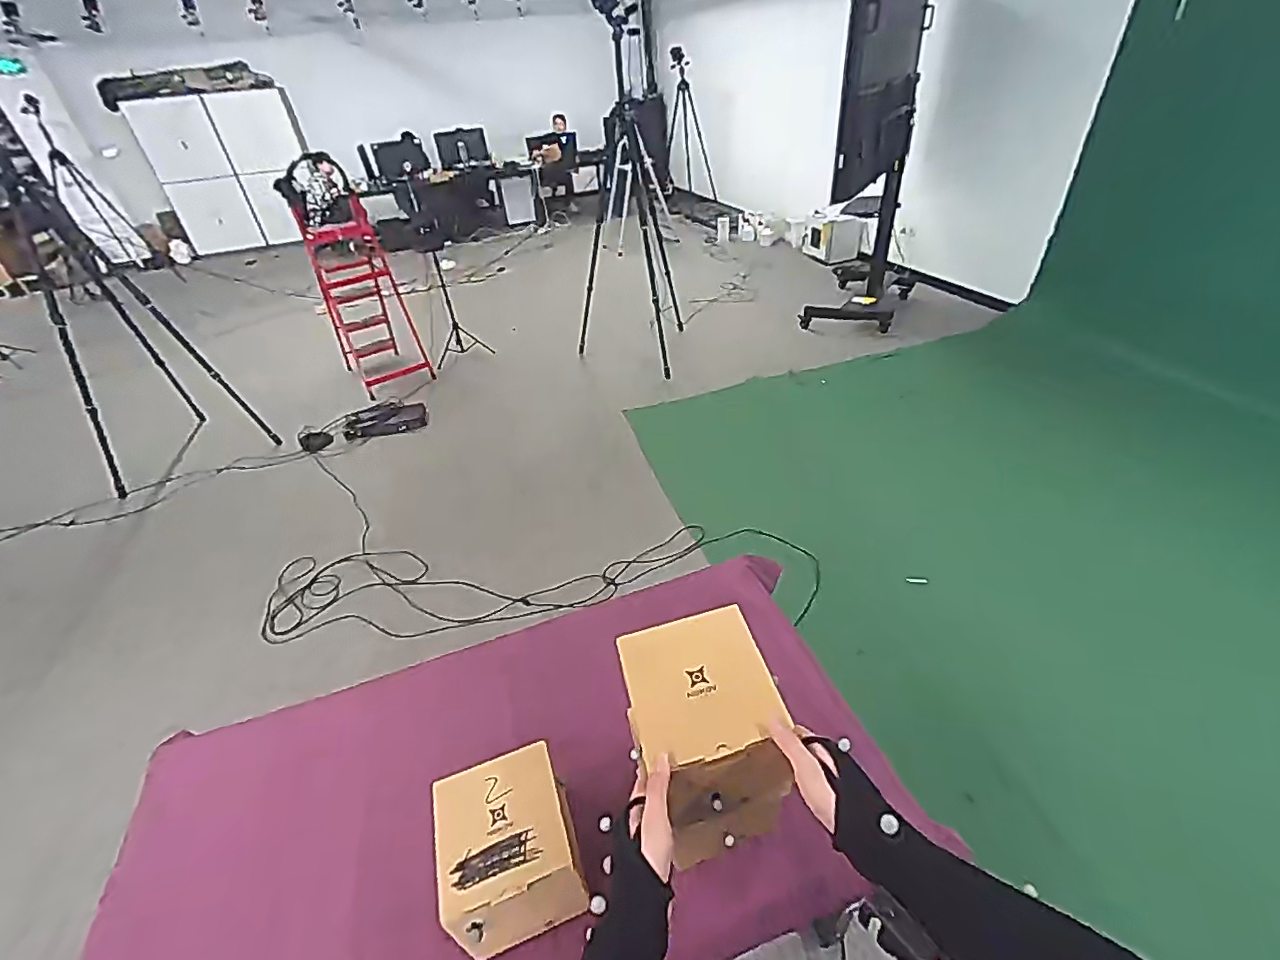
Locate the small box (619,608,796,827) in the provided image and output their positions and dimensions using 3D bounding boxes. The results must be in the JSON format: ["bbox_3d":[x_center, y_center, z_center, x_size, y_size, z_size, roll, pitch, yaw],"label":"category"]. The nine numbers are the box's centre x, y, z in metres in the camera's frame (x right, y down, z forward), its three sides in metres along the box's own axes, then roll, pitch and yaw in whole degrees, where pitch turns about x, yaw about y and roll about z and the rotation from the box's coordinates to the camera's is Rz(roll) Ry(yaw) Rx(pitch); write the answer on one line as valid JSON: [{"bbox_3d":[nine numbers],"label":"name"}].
[{"bbox_3d":[0.076,0.295,0.679,0.168,0.176,0.179,-14,42,-6],"label":"small box"}]

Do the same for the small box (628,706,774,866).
[{"bbox_3d":[0.090,0.440,0.828,0.168,0.176,0.179,-16,38,-12],"label":"small box"}]
